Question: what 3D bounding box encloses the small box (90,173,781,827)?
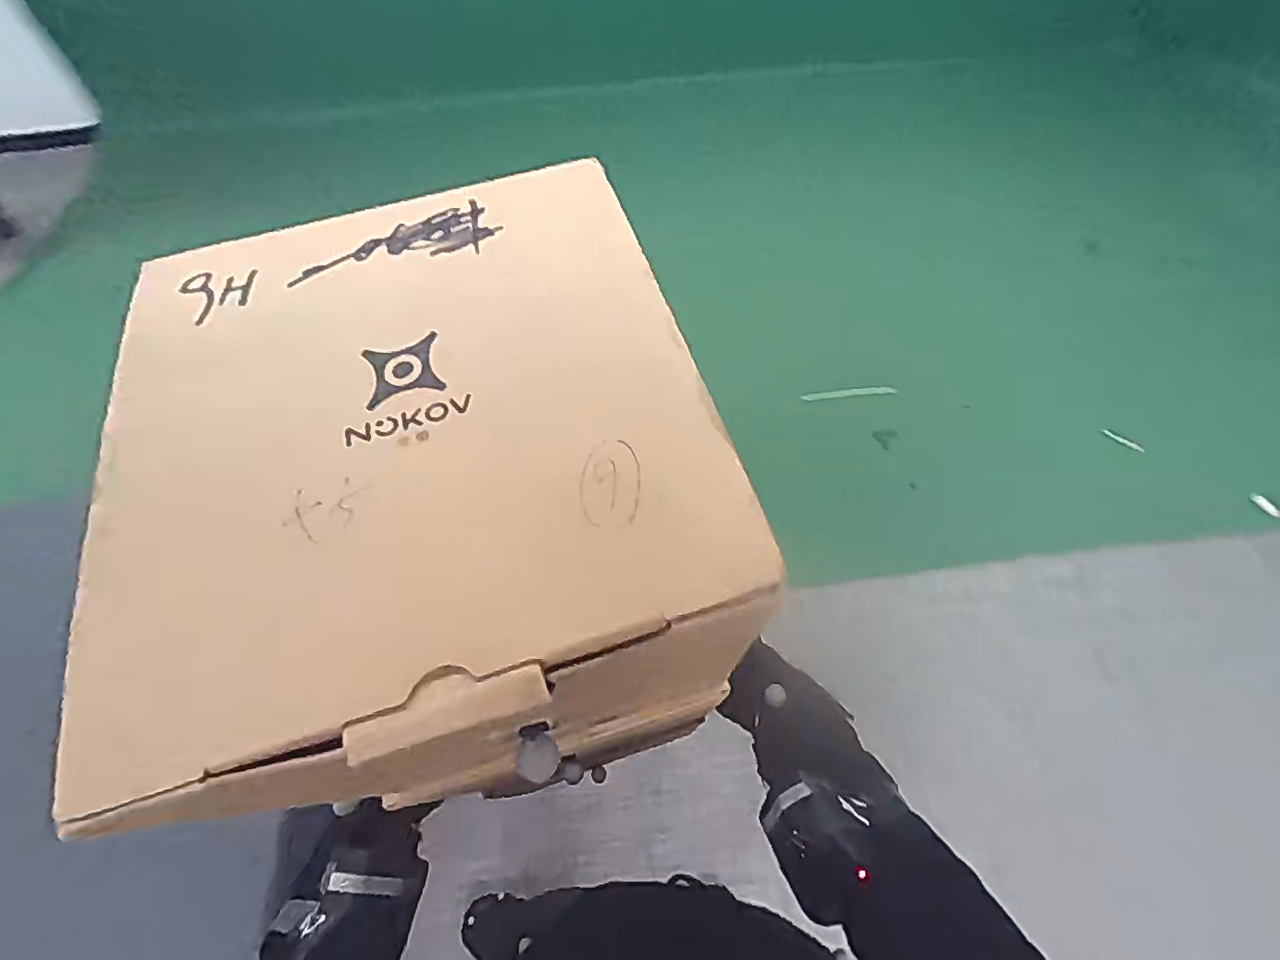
[{"bbox_3d":[-0.059,0.015,0.231,0.168,0.176,0.179,-15,64,-5],"label":"small box"}]
